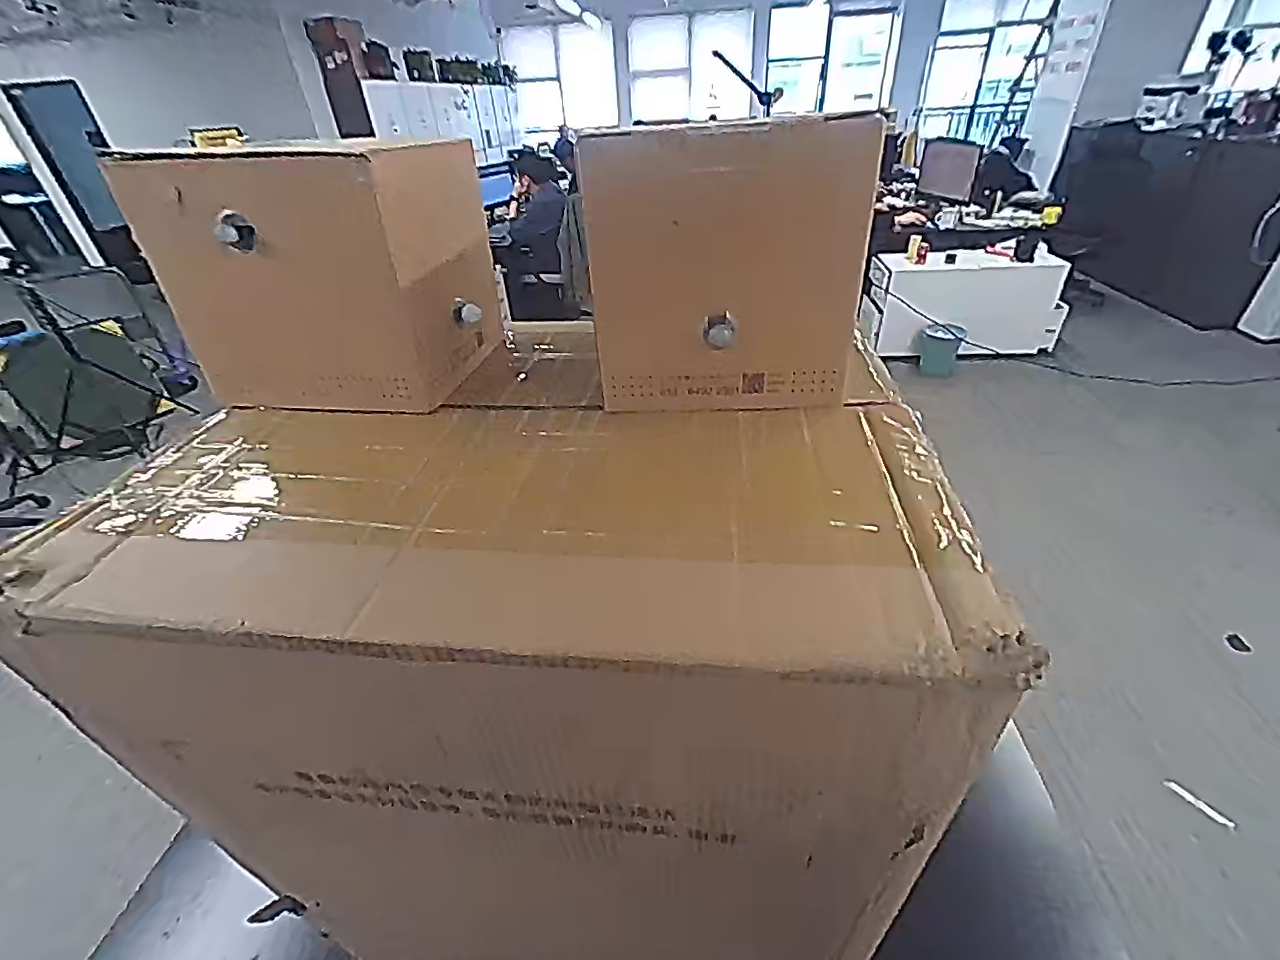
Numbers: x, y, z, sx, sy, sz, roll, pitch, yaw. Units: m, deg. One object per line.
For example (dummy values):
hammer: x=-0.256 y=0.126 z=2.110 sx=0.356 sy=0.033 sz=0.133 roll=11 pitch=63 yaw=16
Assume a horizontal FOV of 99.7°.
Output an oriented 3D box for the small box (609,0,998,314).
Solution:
small box: x=0.075 y=-0.205 z=0.322 sx=0.168 sy=0.176 sz=0.179 roll=-1 pitch=33 yaw=6

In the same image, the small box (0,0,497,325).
small box: x=-0.210 y=-0.205 z=0.345 sx=0.179 sy=0.176 sz=0.168 roll=3 pitch=34 yaw=6
